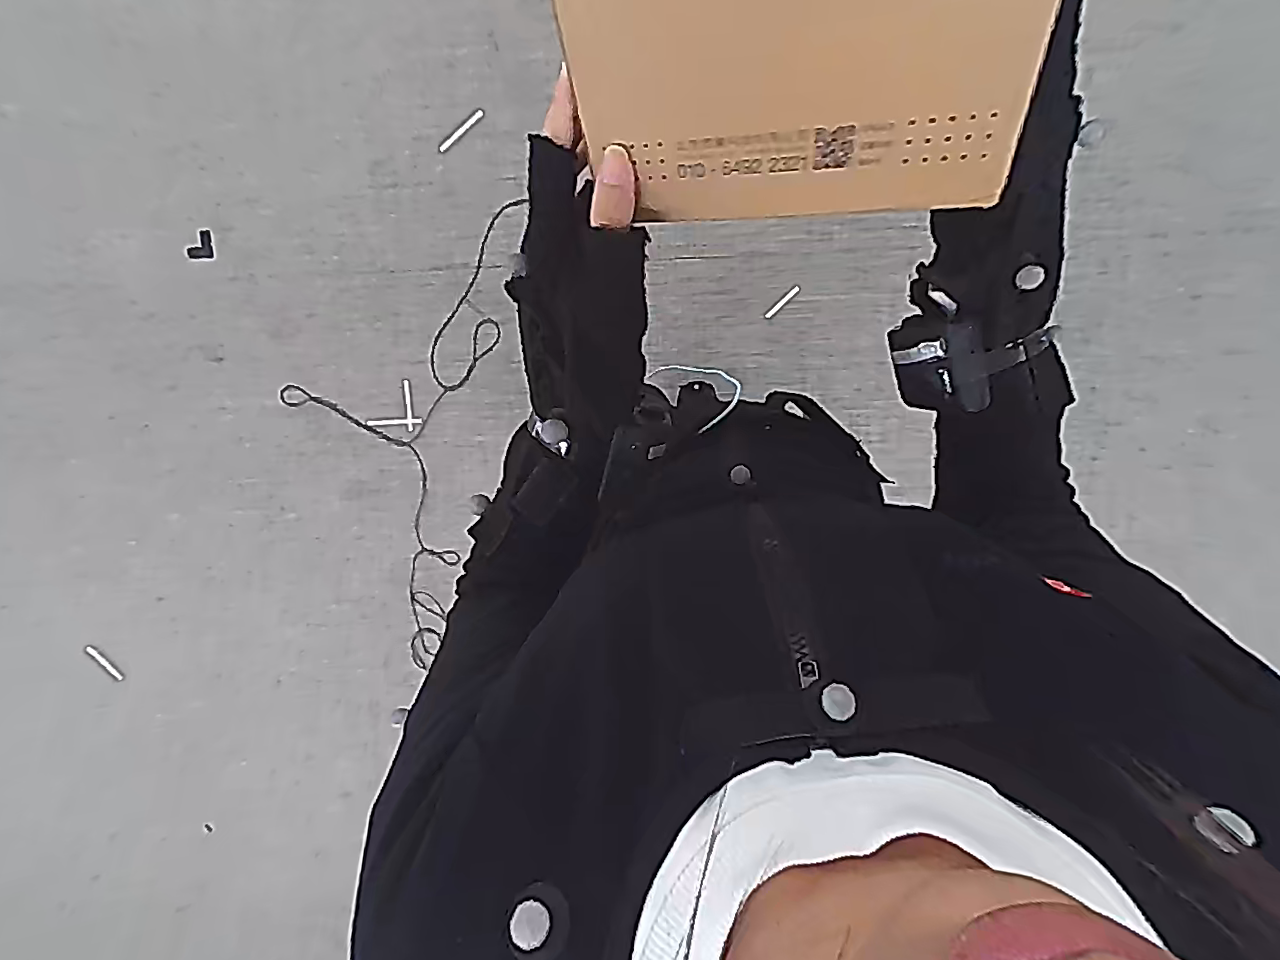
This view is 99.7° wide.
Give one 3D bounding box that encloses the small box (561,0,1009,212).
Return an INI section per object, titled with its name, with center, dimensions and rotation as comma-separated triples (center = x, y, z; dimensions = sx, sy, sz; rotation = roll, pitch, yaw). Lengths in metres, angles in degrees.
[small box]
center = 0.071, -0.236, 0.241
dimensions = 0.168, 0.179, 0.176
rotation = 9, 142, 21
